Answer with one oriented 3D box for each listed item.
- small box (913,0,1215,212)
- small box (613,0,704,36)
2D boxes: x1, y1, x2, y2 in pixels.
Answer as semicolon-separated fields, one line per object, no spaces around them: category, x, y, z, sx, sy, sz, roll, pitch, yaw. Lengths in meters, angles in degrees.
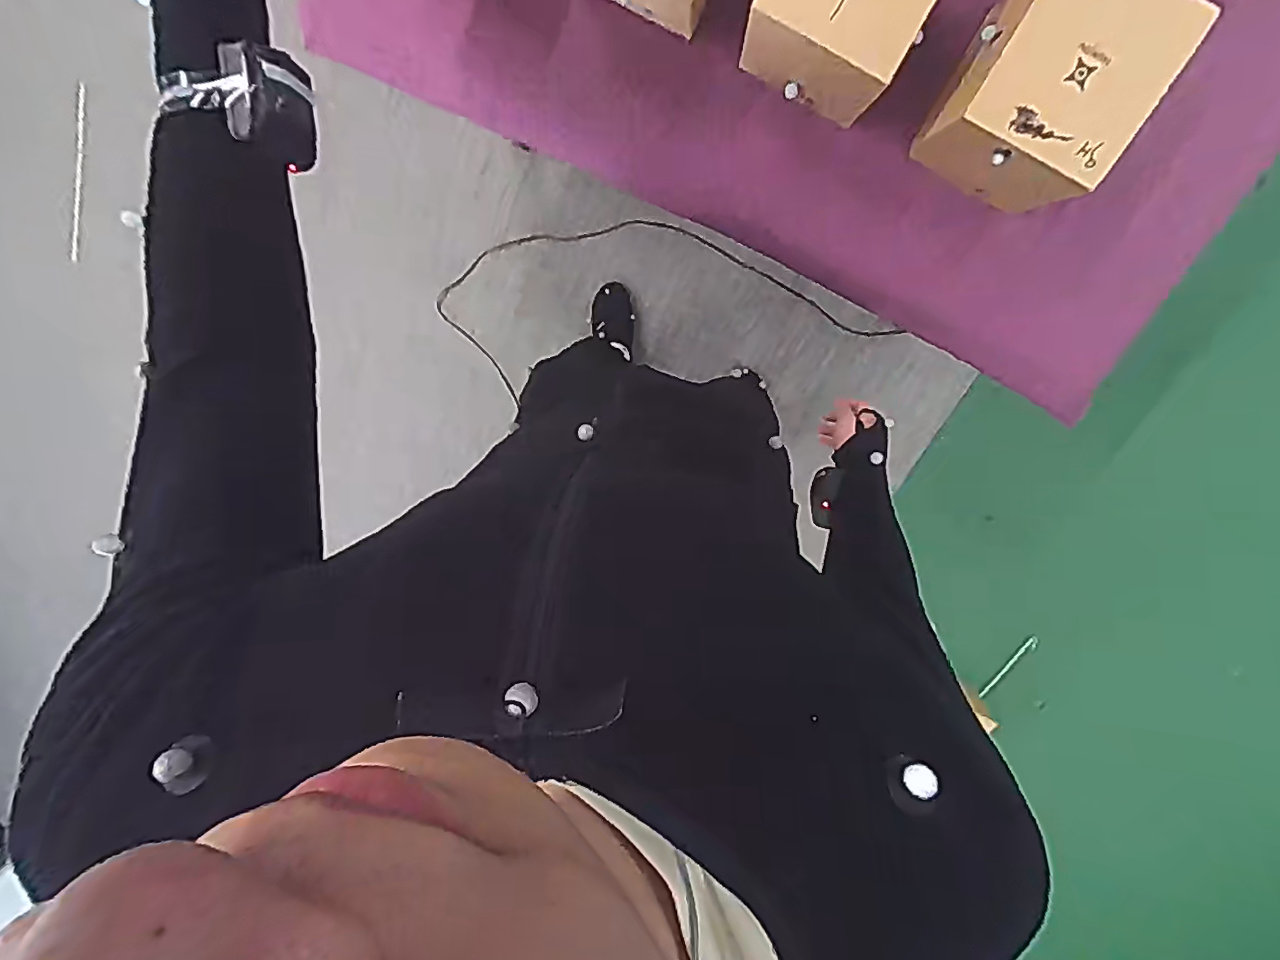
small box;0.450;-0.436;0.614;0.168;0.176;0.179;27;109;-4
small box;0.018;-0.644;0.584;0.168;0.176;0.179;26;110;-4
